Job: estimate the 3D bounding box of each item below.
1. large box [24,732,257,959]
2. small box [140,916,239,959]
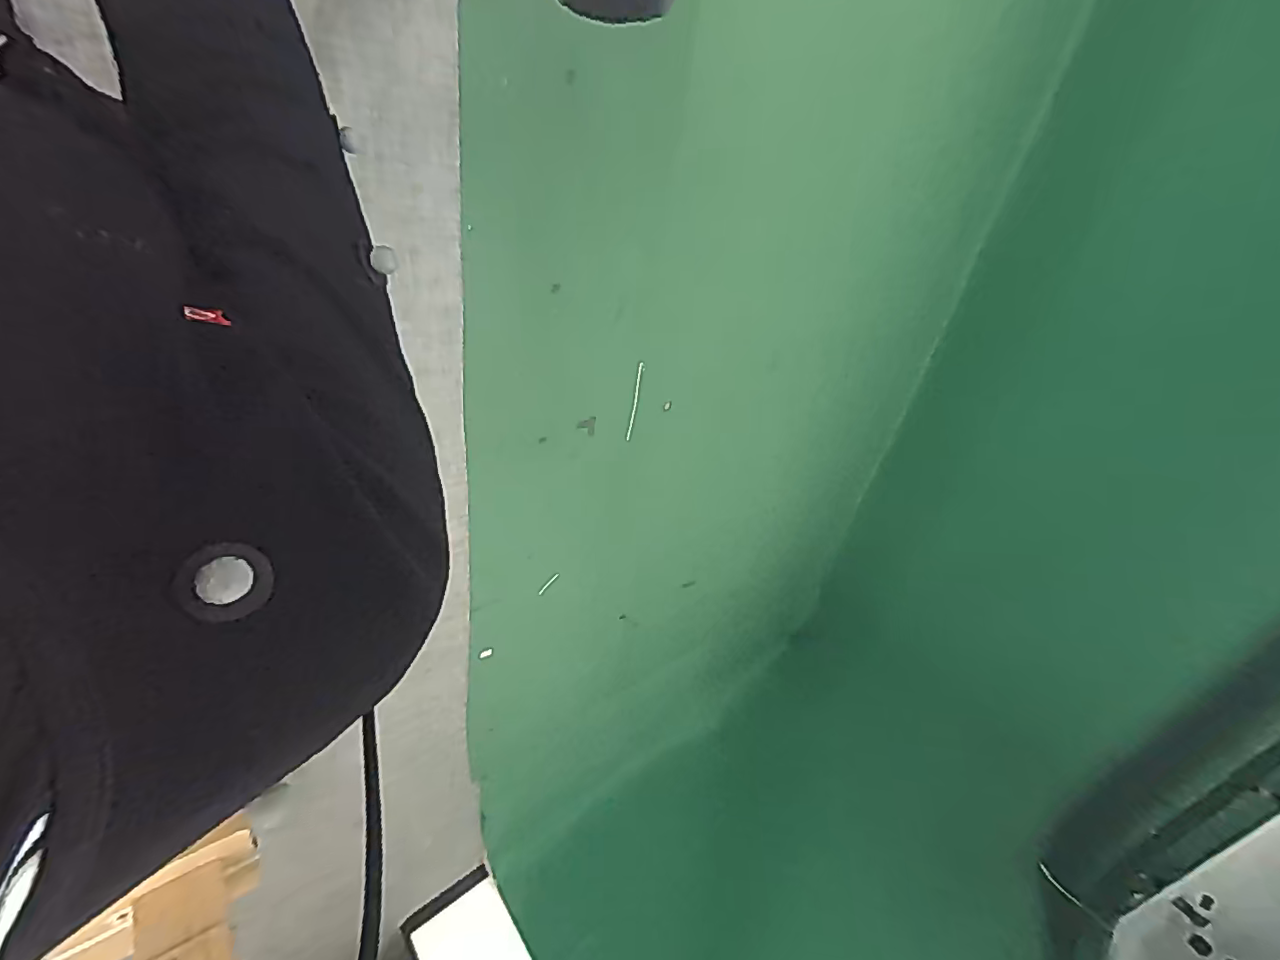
[{"bbox_3d":[-1.329,0.983,1.477,0.408,0.320,0.320,-12,128,-39],"label":"large box"},{"bbox_3d":[-1.040,1.172,1.256,0.168,0.176,0.179,-12,130,-38],"label":"small box"}]
